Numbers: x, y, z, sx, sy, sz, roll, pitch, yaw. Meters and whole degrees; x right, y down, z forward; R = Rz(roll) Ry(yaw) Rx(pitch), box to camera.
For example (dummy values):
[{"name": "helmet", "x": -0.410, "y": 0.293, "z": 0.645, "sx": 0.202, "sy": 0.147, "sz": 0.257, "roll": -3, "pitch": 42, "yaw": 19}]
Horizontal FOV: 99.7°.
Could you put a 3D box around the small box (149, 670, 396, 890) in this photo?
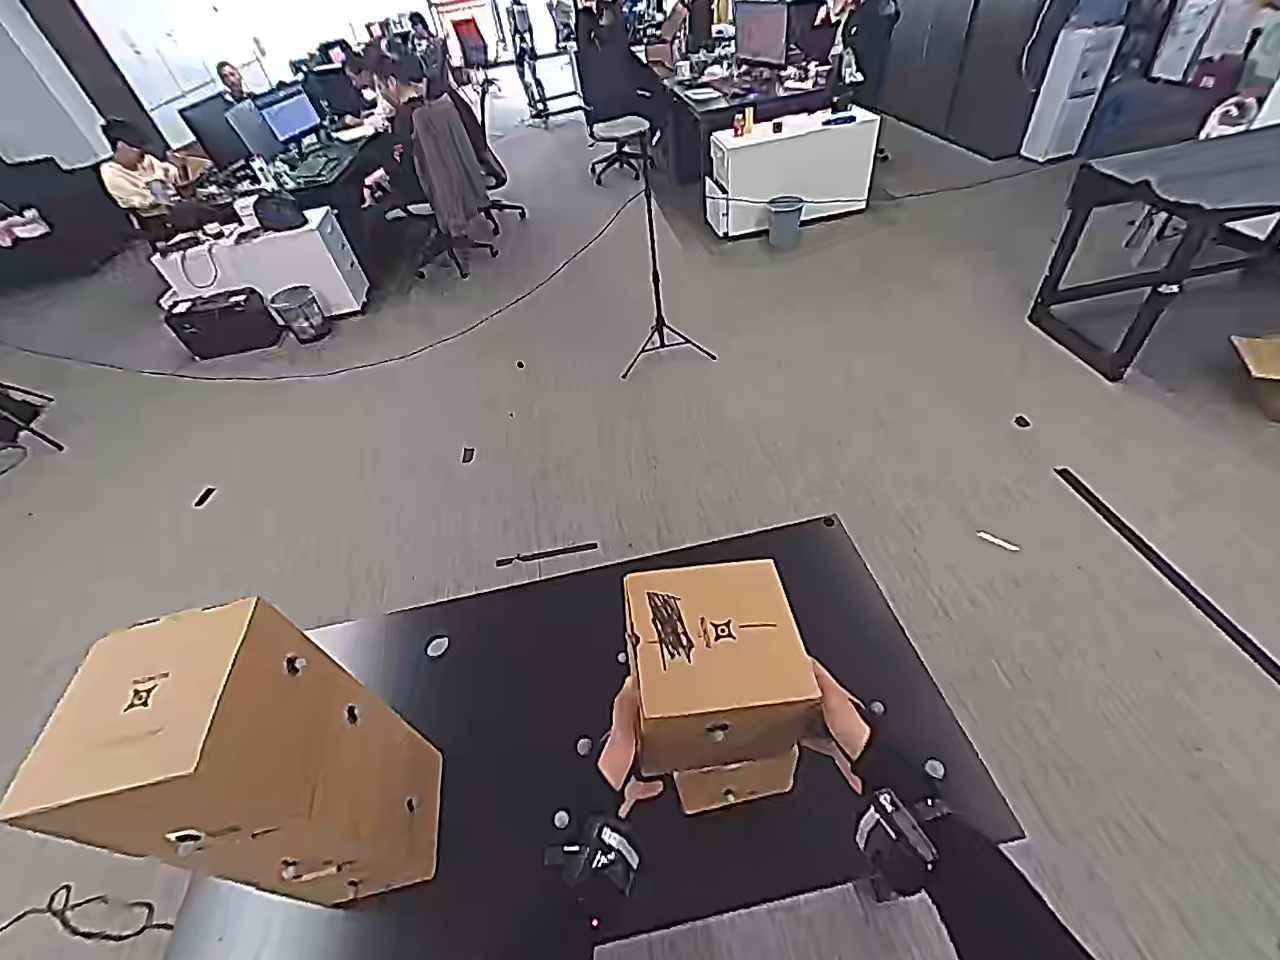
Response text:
[{"name": "small box", "x": -0.421, "y": 0.367, "z": 0.662, "sx": 0.168, "sy": 0.176, "sz": 0.179, "roll": -13, "pitch": 45, "yaw": -2}]

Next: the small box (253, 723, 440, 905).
[{"name": "small box", "x": -0.400, "y": 0.483, "z": 0.777, "sx": 0.168, "sy": 0.176, "sz": 0.179, "roll": -13, "pitch": 45, "yaw": -3}]

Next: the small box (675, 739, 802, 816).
[{"name": "small box", "x": 0.123, "y": 0.365, "z": 0.802, "sx": 0.168, "sy": 0.176, "sz": 0.179, "roll": -13, "pitch": 45, "yaw": -2}]

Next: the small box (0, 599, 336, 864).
[{"name": "small box", "x": -0.440, "y": 0.253, "z": 0.547, "sx": 0.168, "sy": 0.176, "sz": 0.179, "roll": -14, "pitch": 45, "yaw": -2}]

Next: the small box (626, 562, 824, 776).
[{"name": "small box", "x": 0.080, "y": 0.215, "z": 0.611, "sx": 0.179, "sy": 0.176, "sz": 0.168, "roll": -5, "pitch": 45, "yaw": -5}]
